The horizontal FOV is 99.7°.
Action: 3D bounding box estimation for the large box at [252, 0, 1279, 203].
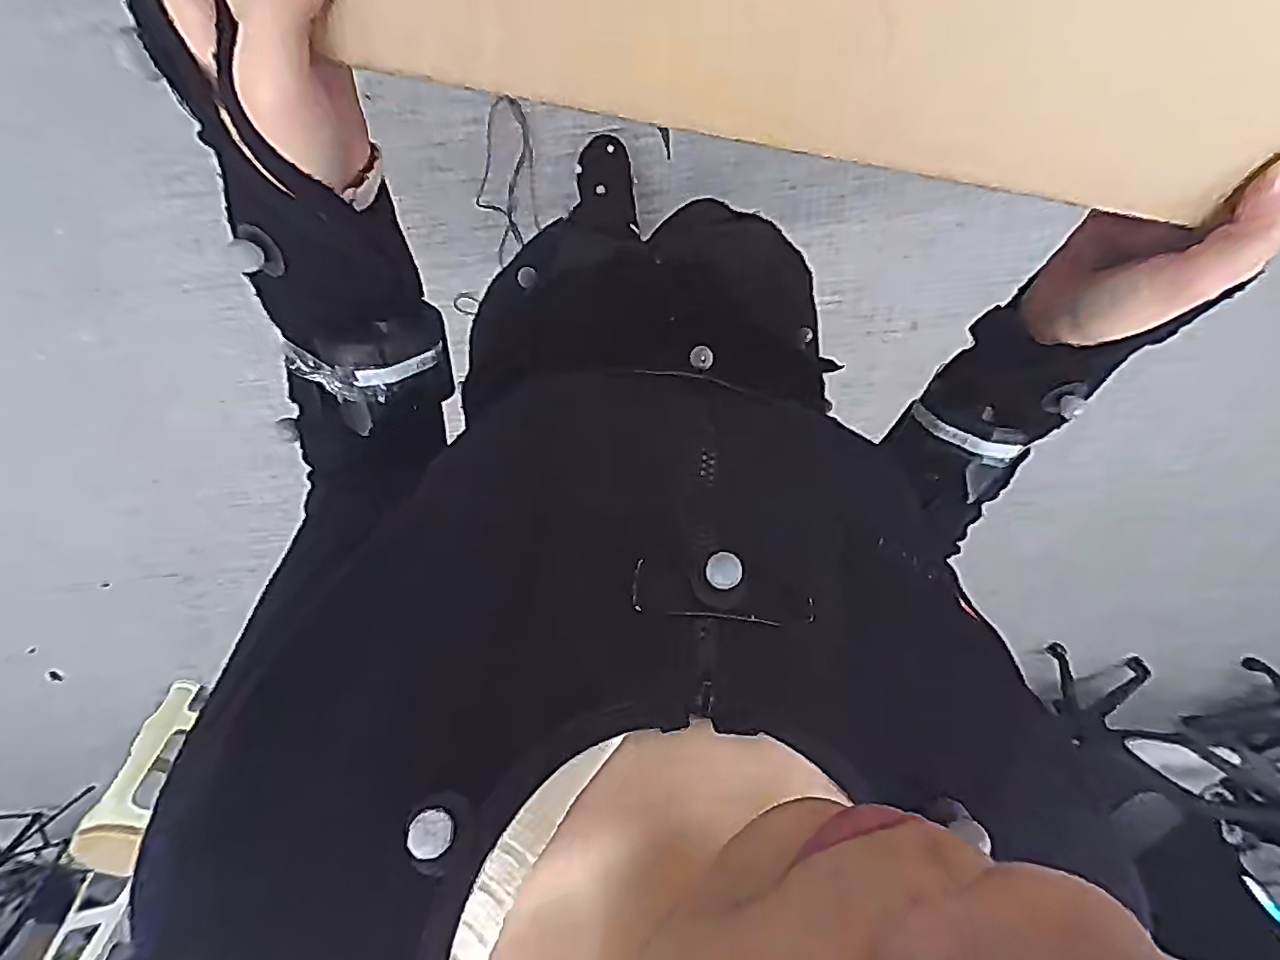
[{"bbox_3d":[0.084,-0.342,0.191,0.408,0.320,0.320,5,140,-7],"label":"large box"}]
